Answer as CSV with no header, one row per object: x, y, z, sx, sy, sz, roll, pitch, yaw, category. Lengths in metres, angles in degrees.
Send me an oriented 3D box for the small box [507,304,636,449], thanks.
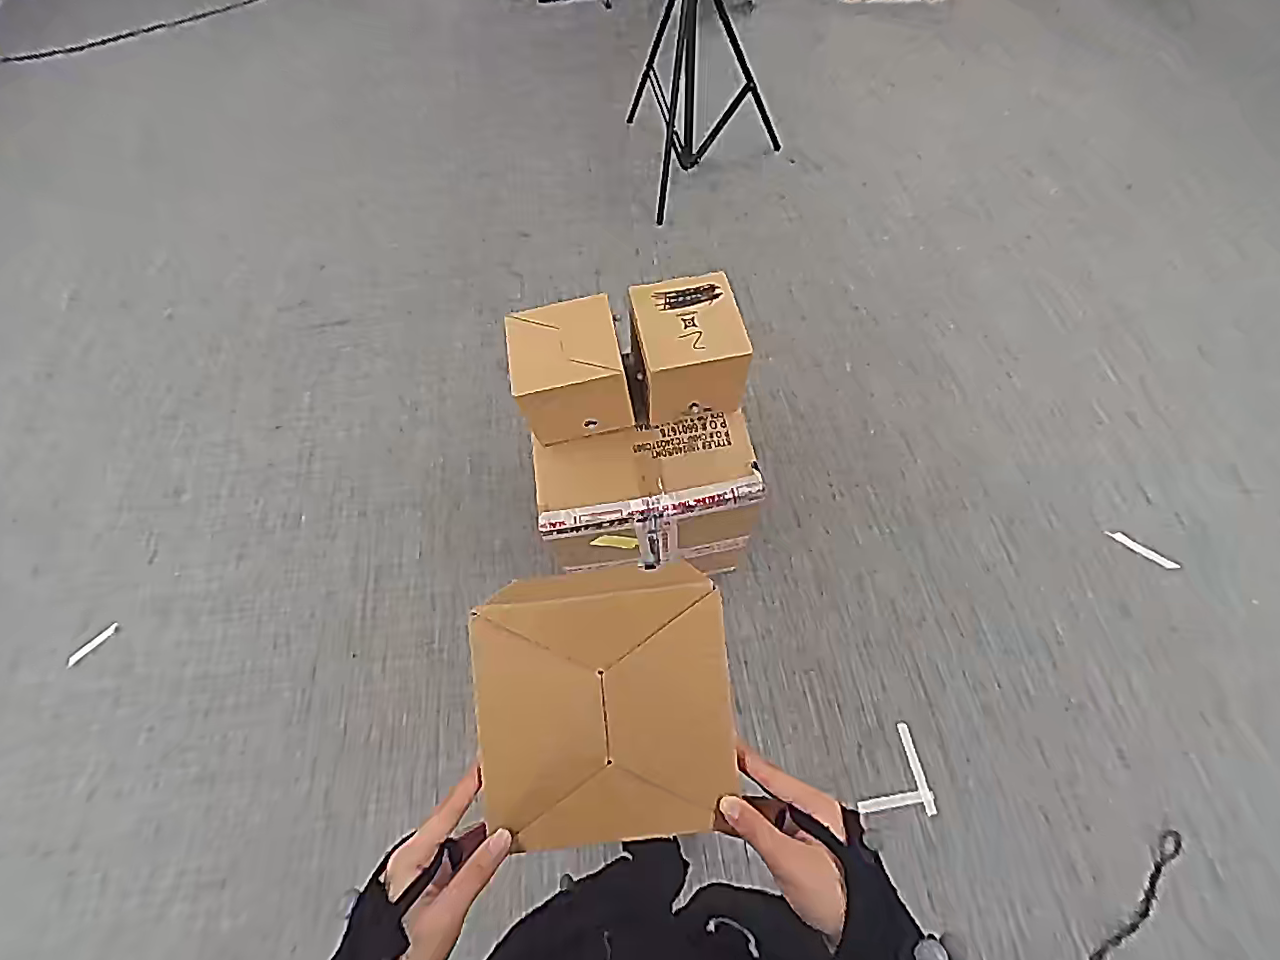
-0.113,-0.177,0.933,0.179,0.176,0.168,-12,65,0,small box

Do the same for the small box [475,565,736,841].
-0.029,0.168,0.455,0.179,0.176,0.168,-5,87,-1,small box
